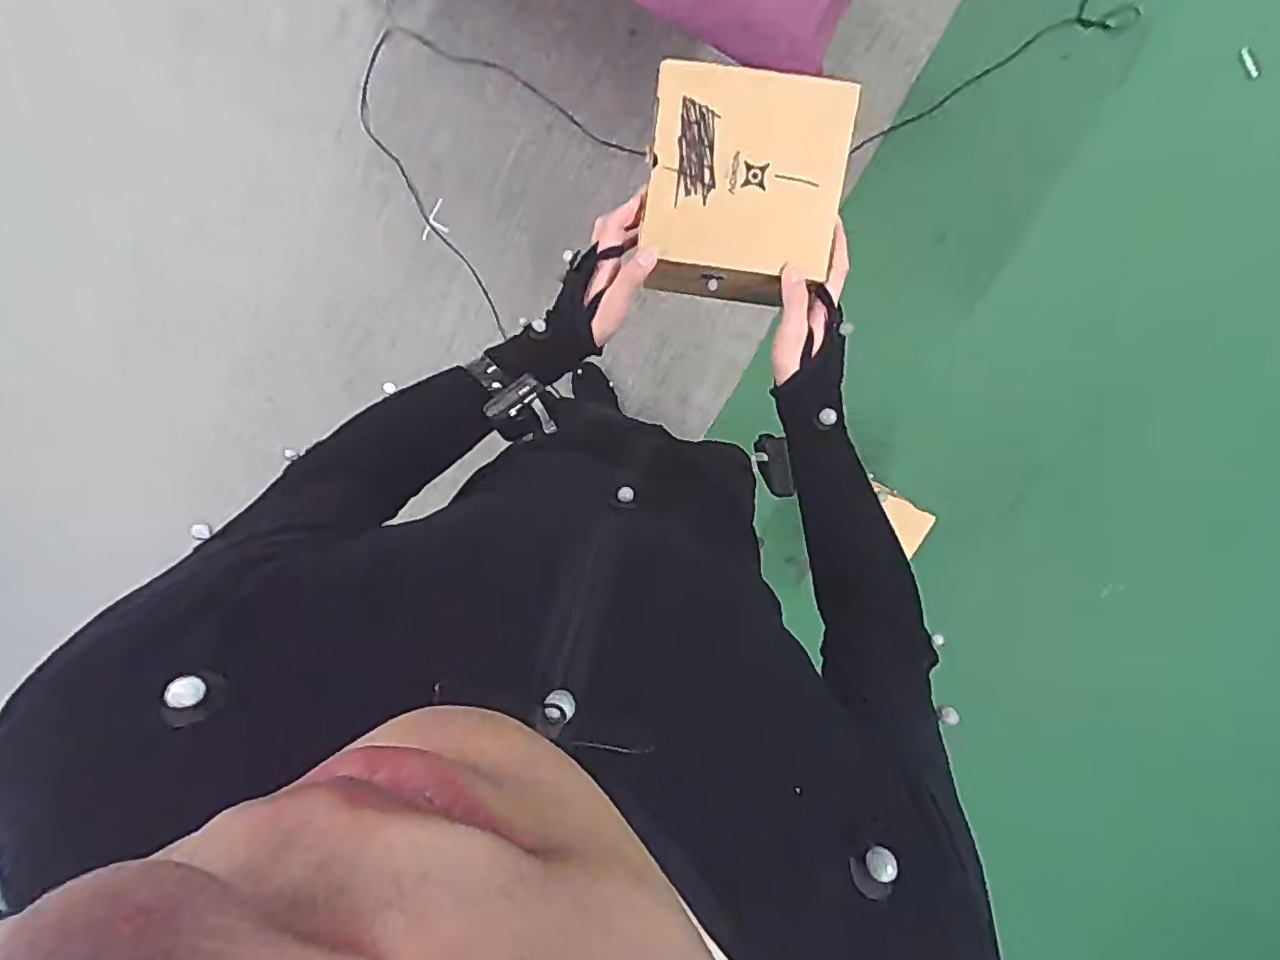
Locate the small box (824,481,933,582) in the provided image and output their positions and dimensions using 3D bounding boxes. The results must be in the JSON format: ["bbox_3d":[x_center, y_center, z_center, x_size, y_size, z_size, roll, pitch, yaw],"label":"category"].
[{"bbox_3d":[0.585,0.122,1.357,0.168,0.176,0.179,27,100,0],"label":"small box"}]

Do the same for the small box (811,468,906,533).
[{"bbox_3d":[0.599,0.087,1.515,0.168,0.176,0.179,30,101,-1],"label":"small box"}]

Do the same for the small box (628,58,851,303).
[{"bbox_3d":[0.088,-0.287,0.556,0.179,0.176,0.168,8,100,1],"label":"small box"}]
